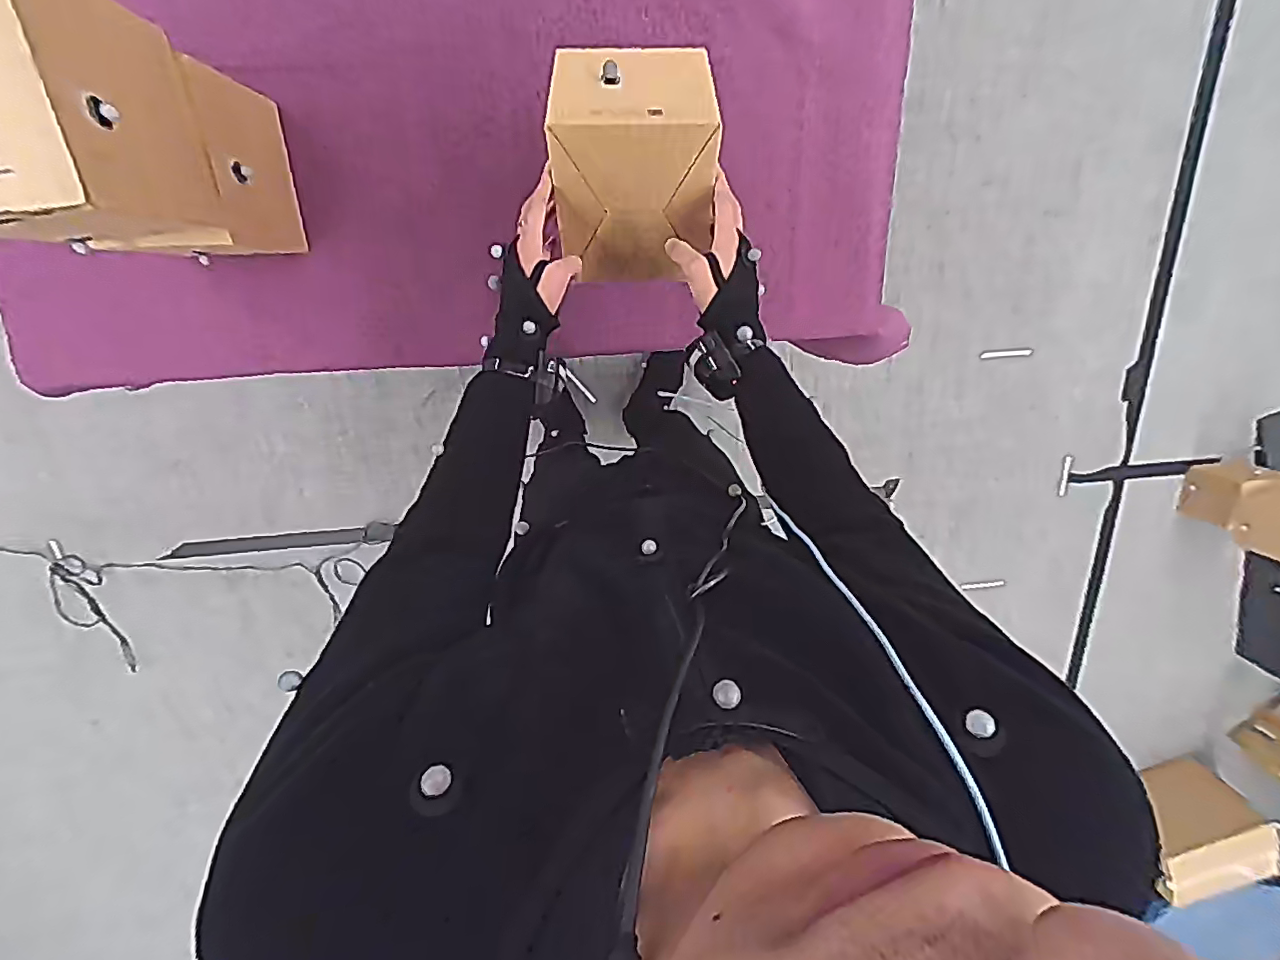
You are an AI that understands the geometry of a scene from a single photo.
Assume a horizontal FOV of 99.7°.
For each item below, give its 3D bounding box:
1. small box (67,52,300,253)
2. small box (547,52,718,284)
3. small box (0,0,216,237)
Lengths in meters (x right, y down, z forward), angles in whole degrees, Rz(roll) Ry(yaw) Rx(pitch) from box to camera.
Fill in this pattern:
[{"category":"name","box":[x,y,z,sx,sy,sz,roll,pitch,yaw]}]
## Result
[{"category":"small box","box":[-0.527,-0.356,0.620,0.168,0.176,0.179,-3,110,-5]},{"category":"small box","box":[-0.011,-0.348,0.609,0.168,0.176,0.179,-1,144,-2]},{"category":"small box","box":[-0.518,-0.310,0.462,0.168,0.176,0.179,-7,110,-3]}]
